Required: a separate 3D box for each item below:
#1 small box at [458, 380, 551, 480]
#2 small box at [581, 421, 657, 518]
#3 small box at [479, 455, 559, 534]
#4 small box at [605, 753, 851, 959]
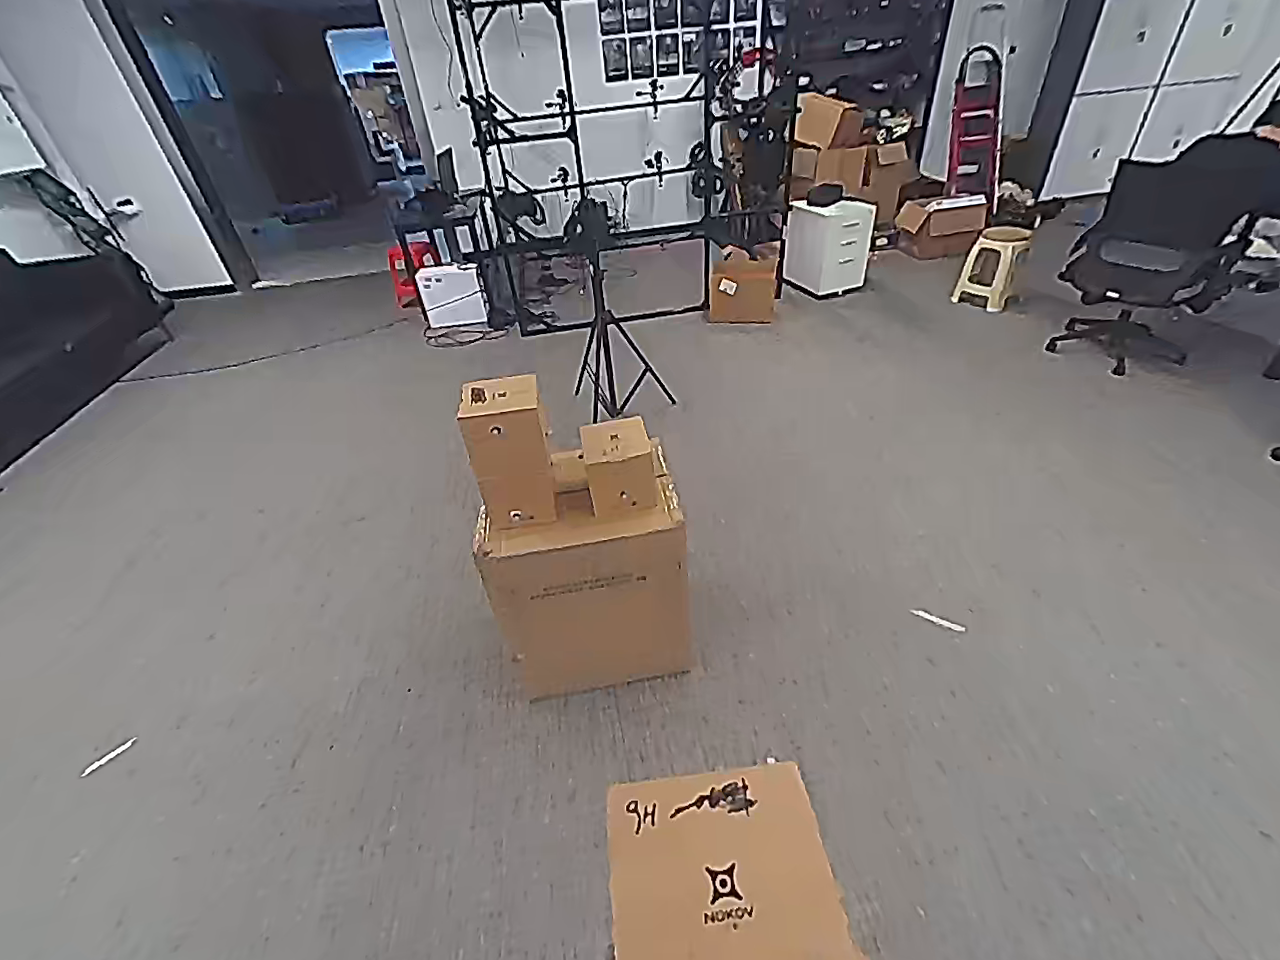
[{"bbox_3d":[-0.315,-0.116,1.287,0.179,0.176,0.168,-9,38,-5],"label":"small box"},{"bbox_3d":[-0.055,-0.027,1.402,0.168,0.176,0.179,-11,38,-3],"label":"small box"},{"bbox_3d":[-0.305,0.012,1.389,0.168,0.176,0.179,-10,39,-4],"label":"small box"},{"bbox_3d":[0.064,0.362,0.454,0.168,0.176,0.179,-7,40,-2],"label":"small box"}]
